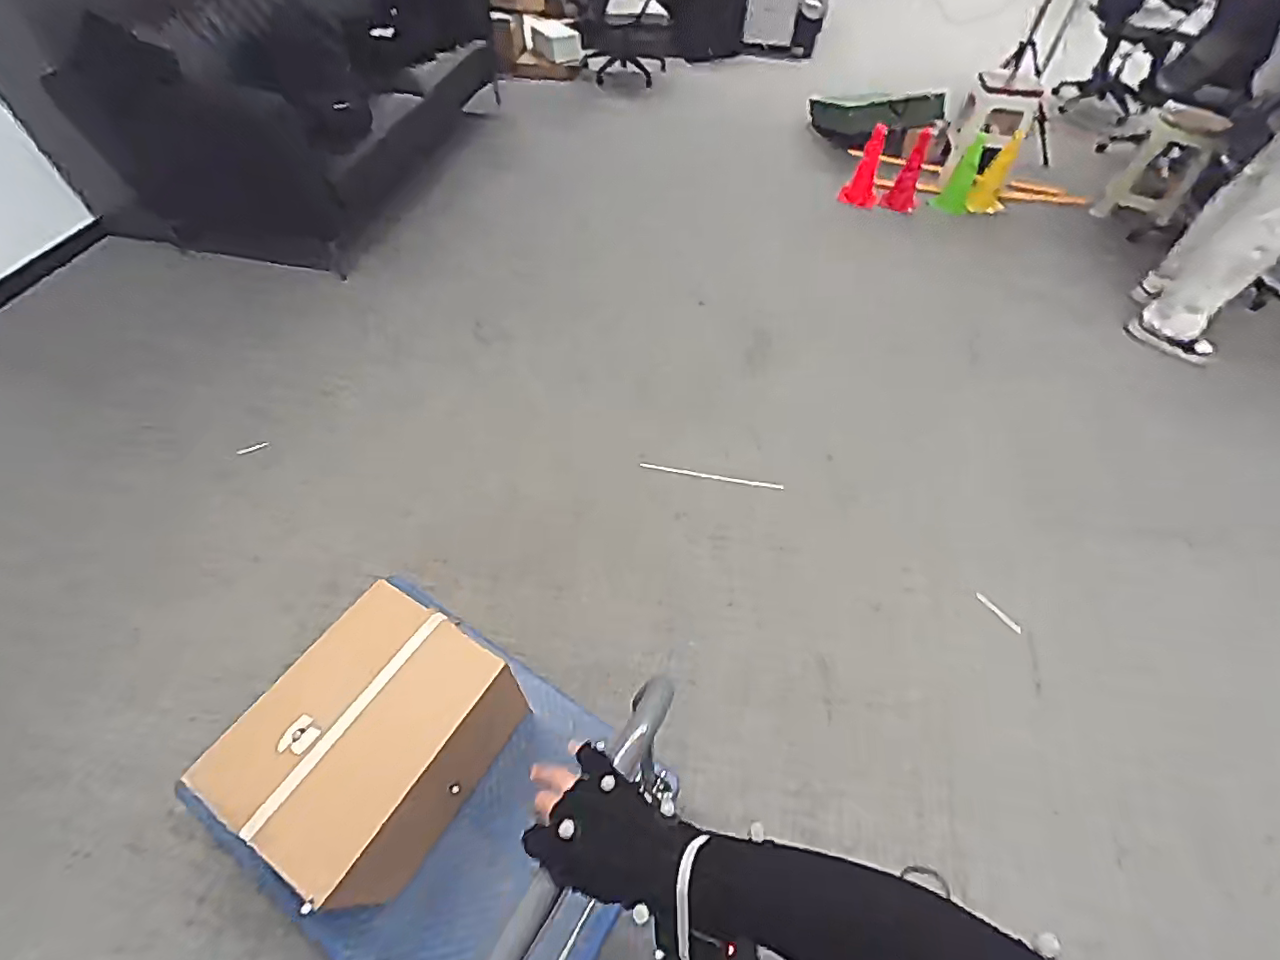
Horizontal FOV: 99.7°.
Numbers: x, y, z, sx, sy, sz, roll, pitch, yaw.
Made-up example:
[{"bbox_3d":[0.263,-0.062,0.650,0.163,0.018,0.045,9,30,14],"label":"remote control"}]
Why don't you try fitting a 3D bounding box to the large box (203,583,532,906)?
[{"bbox_3d":[-0.457,0.482,1.020,0.320,0.320,0.408,26,57,17],"label":"large box"}]
